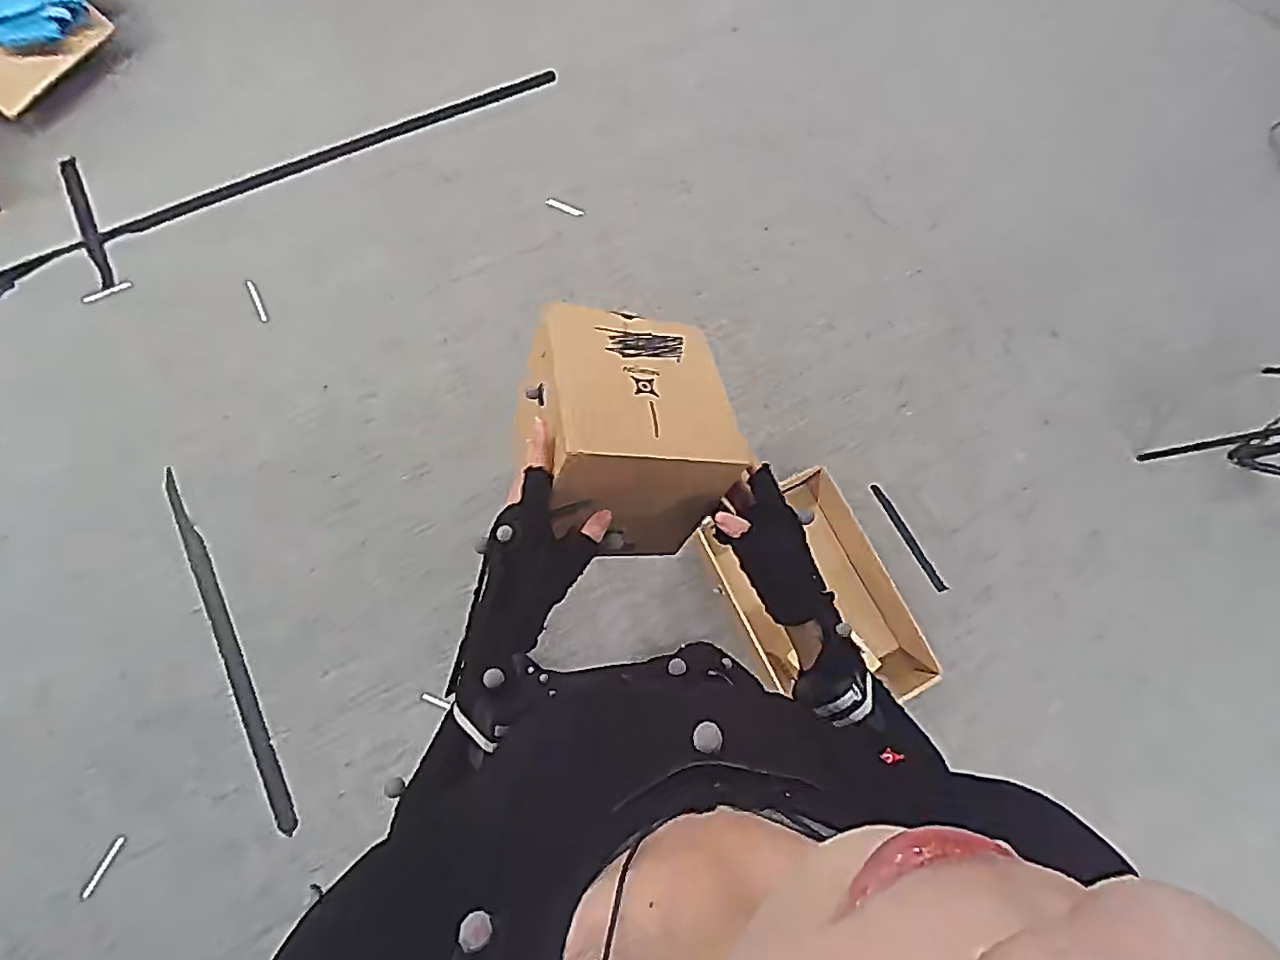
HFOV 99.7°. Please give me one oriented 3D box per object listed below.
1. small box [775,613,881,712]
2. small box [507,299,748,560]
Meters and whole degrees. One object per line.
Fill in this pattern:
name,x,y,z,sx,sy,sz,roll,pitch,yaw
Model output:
small box,0.467,0.460,1.383,0.179,0.176,0.168,-38,81,-11
small box,-0.029,-0.040,0.522,0.168,0.176,0.179,2,52,-24
